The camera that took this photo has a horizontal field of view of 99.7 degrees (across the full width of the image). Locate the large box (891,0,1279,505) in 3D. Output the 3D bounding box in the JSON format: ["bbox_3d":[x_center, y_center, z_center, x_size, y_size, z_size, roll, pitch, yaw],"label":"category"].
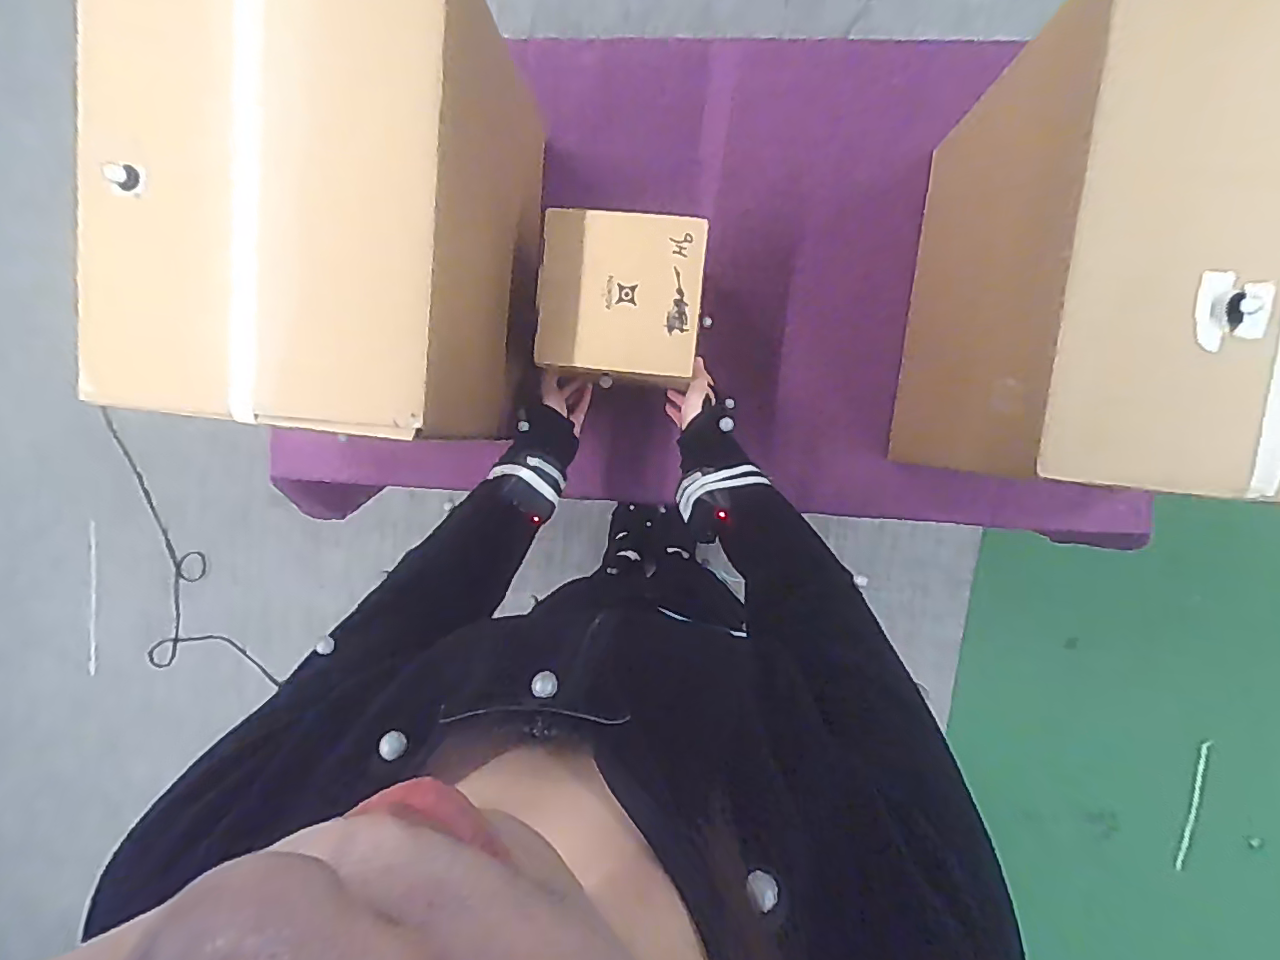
[{"bbox_3d":[0.496,-0.198,0.557,0.320,0.320,0.408,7,96,3],"label":"large box"}]
